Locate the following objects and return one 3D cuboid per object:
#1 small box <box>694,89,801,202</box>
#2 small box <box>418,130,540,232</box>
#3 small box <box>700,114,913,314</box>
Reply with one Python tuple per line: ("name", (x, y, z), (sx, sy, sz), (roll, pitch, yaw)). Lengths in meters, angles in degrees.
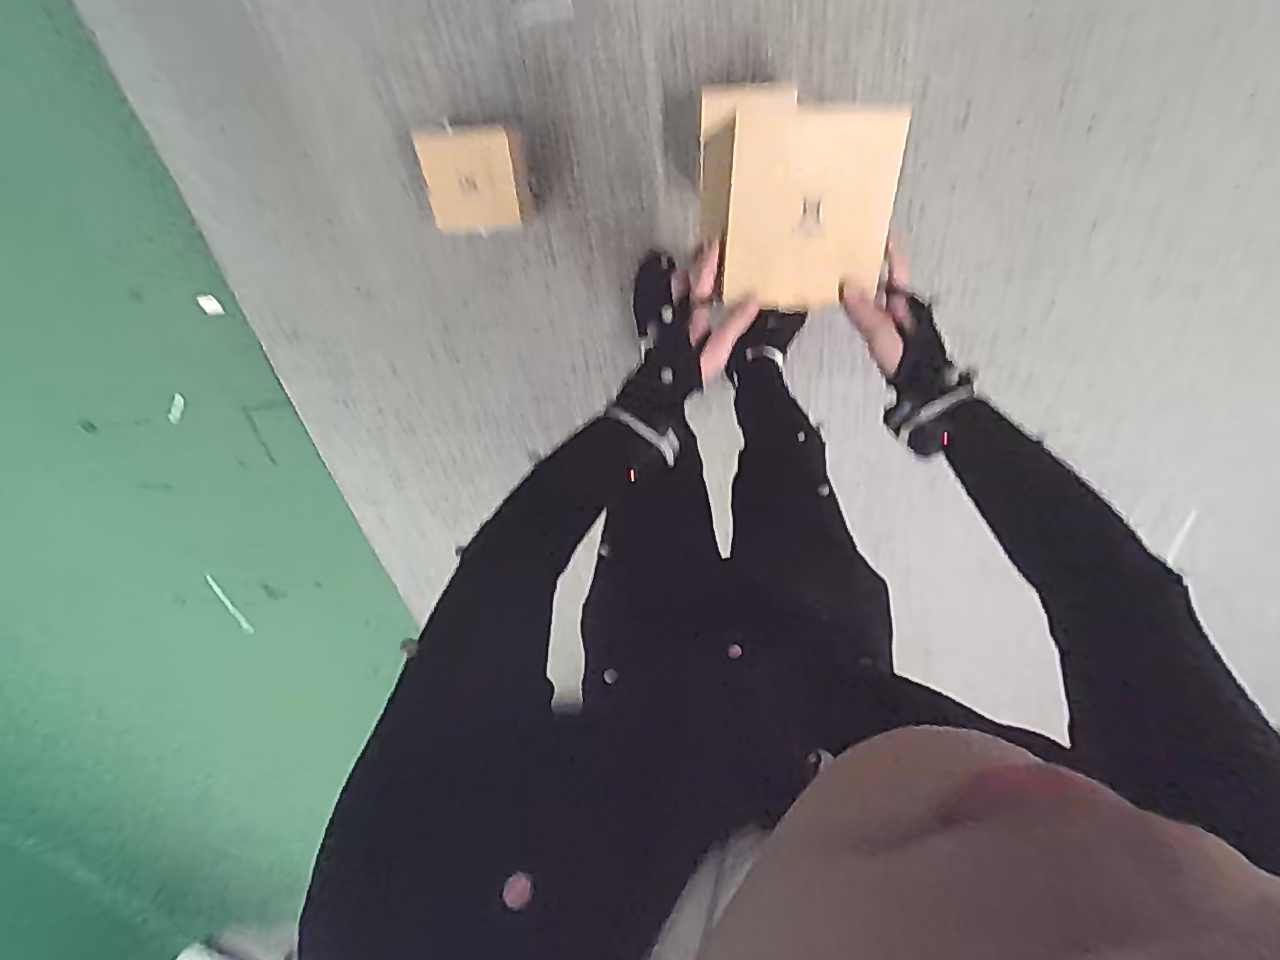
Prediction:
("small box", (0.195, -0.635, 1.036), (0.168, 0.176, 0.179), (6, 126, 1))
("small box", (-0.312, -0.602, 1.087), (0.179, 0.176, 0.168), (-1, 125, 3))
("small box", (0.163, -0.287, 0.595), (0.168, 0.176, 0.179), (-2, 119, -3))
